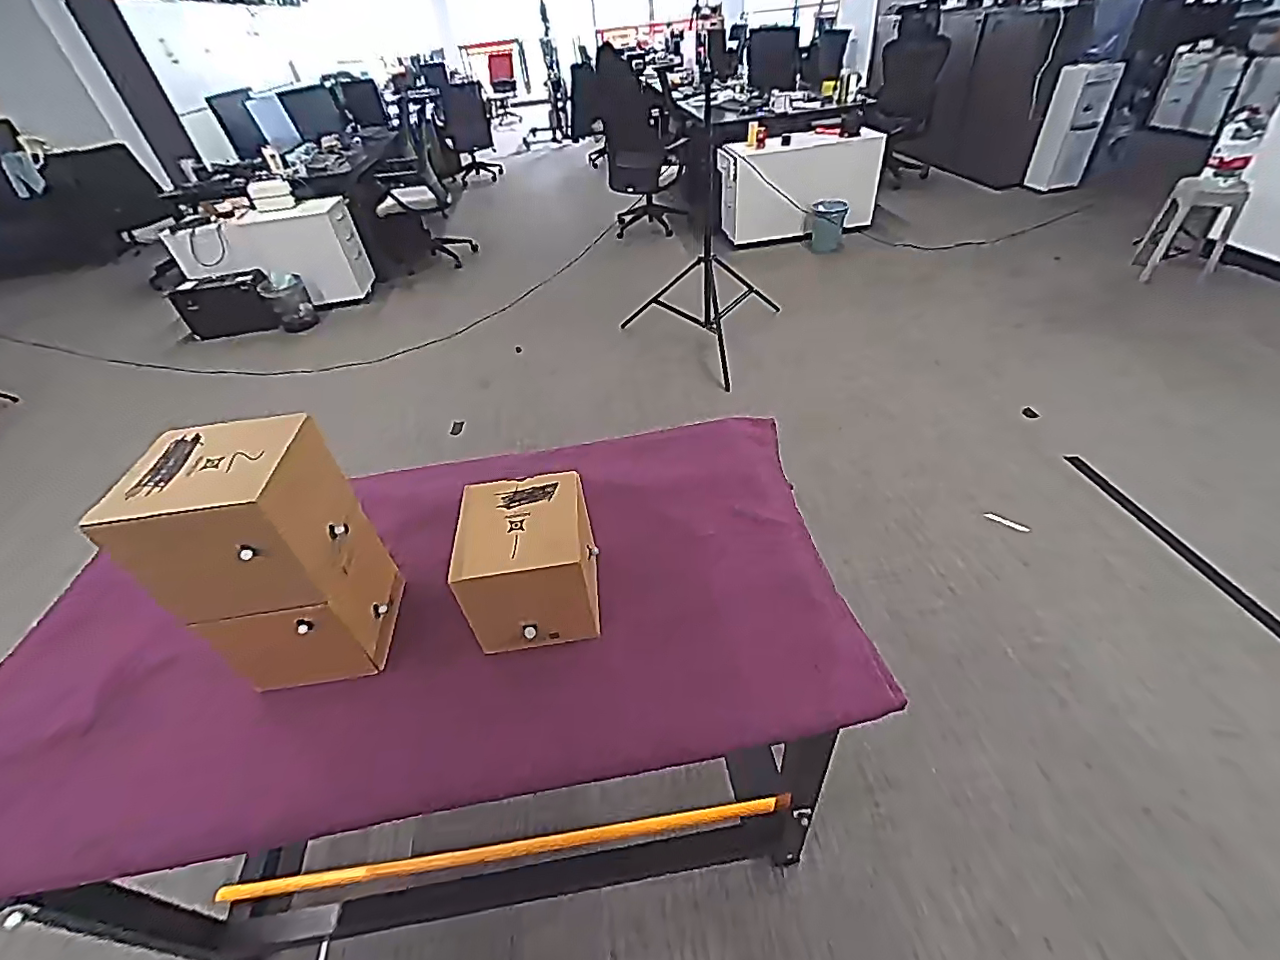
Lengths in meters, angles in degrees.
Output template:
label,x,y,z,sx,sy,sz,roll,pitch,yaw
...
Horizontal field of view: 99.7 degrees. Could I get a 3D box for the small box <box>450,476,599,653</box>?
label,x,y,z,sx,sy,sz,roll,pitch,yaw
small box,-0.153,0.120,0.776,0.168,0.176,0.179,-8,41,-1

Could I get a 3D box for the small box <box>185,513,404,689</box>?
label,x,y,z,sx,sy,sz,roll,pitch,yaw
small box,-0.463,0.172,0.760,0.179,0.176,0.168,-8,40,-3
